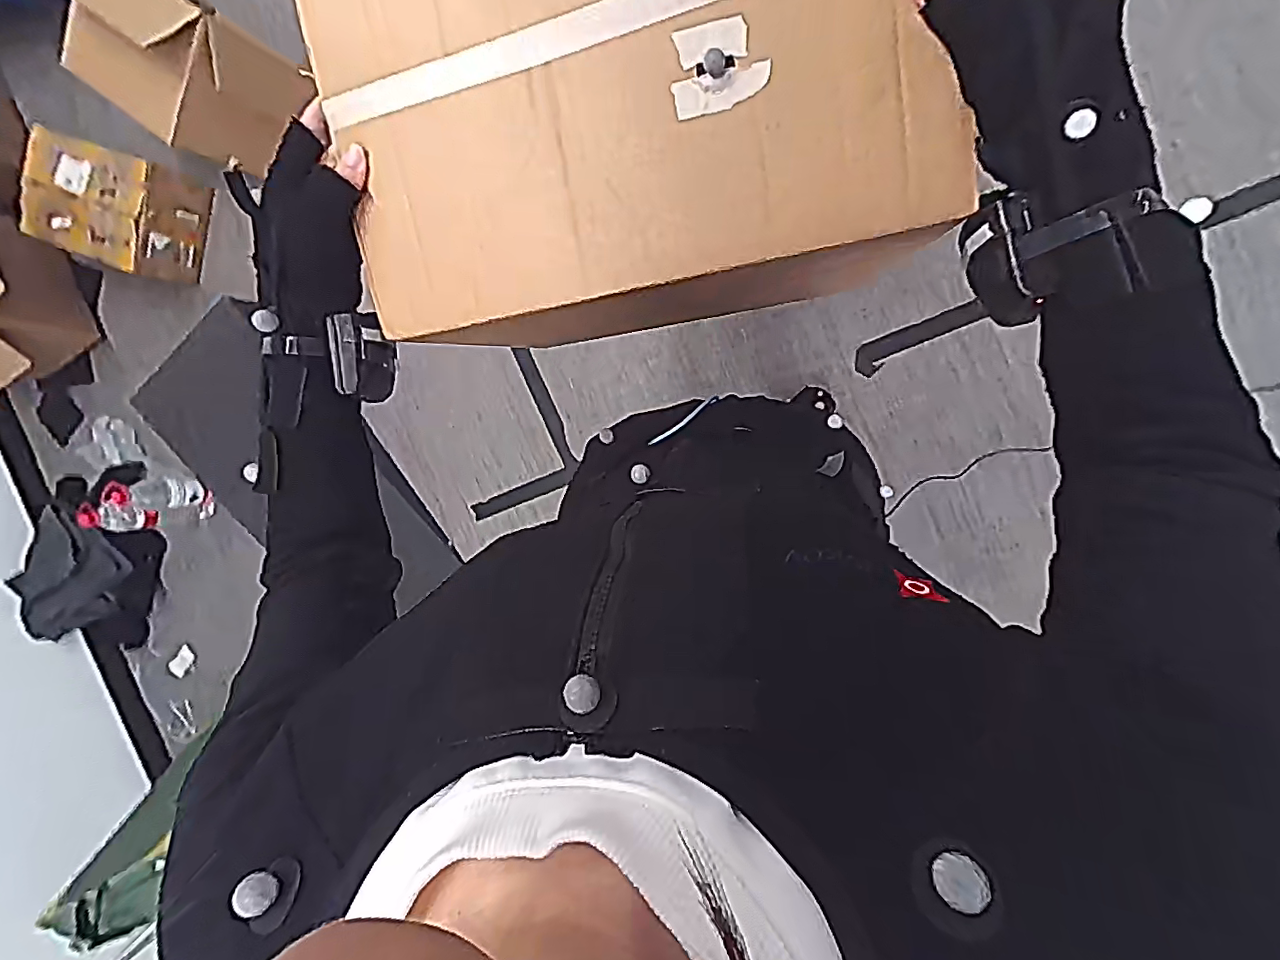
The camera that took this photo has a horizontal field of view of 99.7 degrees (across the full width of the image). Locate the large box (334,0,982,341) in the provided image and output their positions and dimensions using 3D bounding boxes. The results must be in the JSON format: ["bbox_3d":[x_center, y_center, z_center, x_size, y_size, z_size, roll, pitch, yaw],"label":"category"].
[{"bbox_3d":[0.017,-0.322,0.487,0.408,0.320,0.320,-7,101,13],"label":"large box"}]
